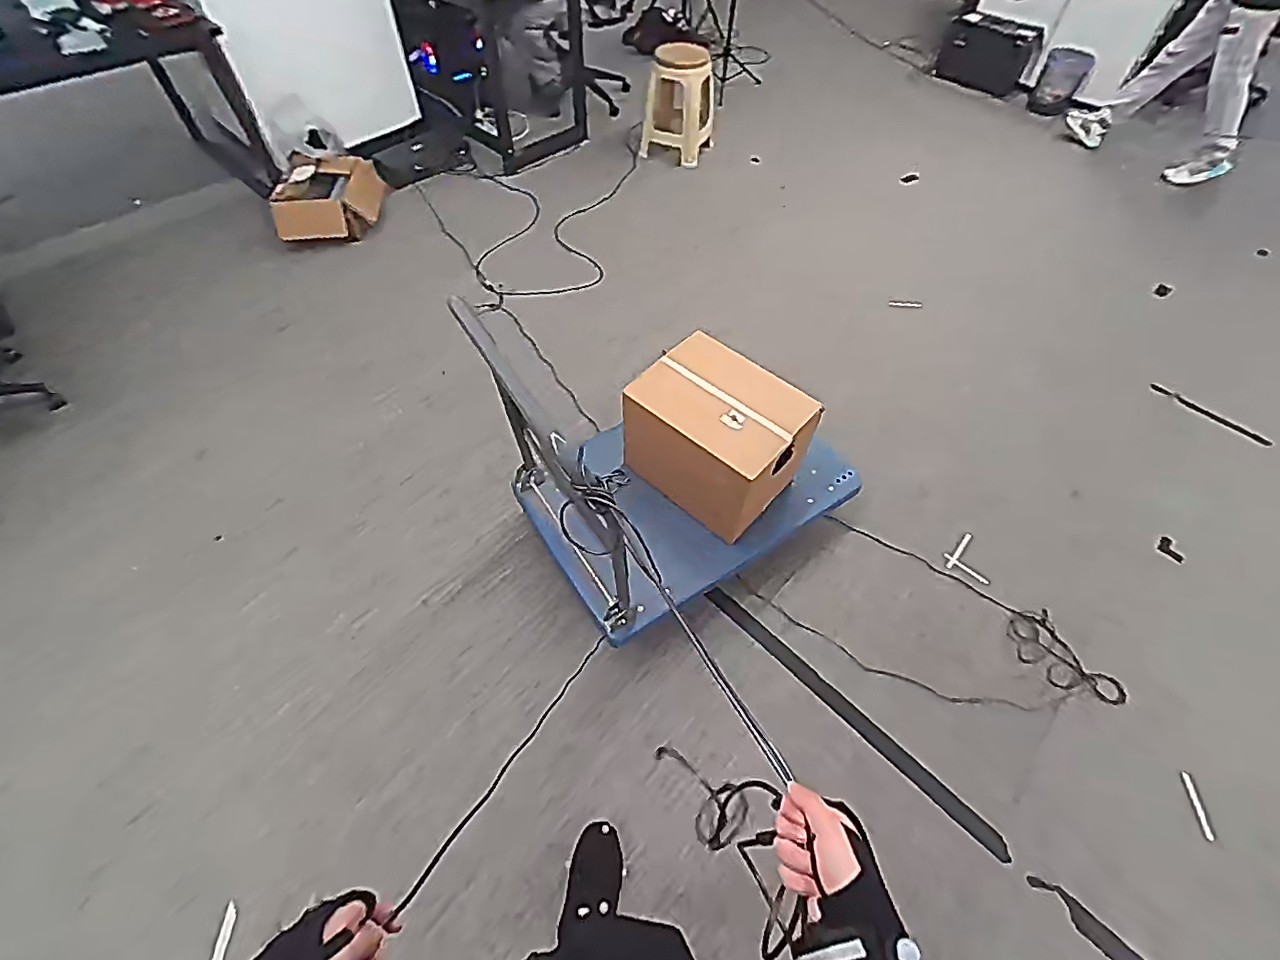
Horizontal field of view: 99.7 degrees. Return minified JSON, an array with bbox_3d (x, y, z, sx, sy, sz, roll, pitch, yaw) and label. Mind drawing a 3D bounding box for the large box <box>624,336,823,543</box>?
[{"bbox_3d":[0.201,-0.110,1.460,0.408,0.320,0.320,38,63,21],"label":"large box"}]
